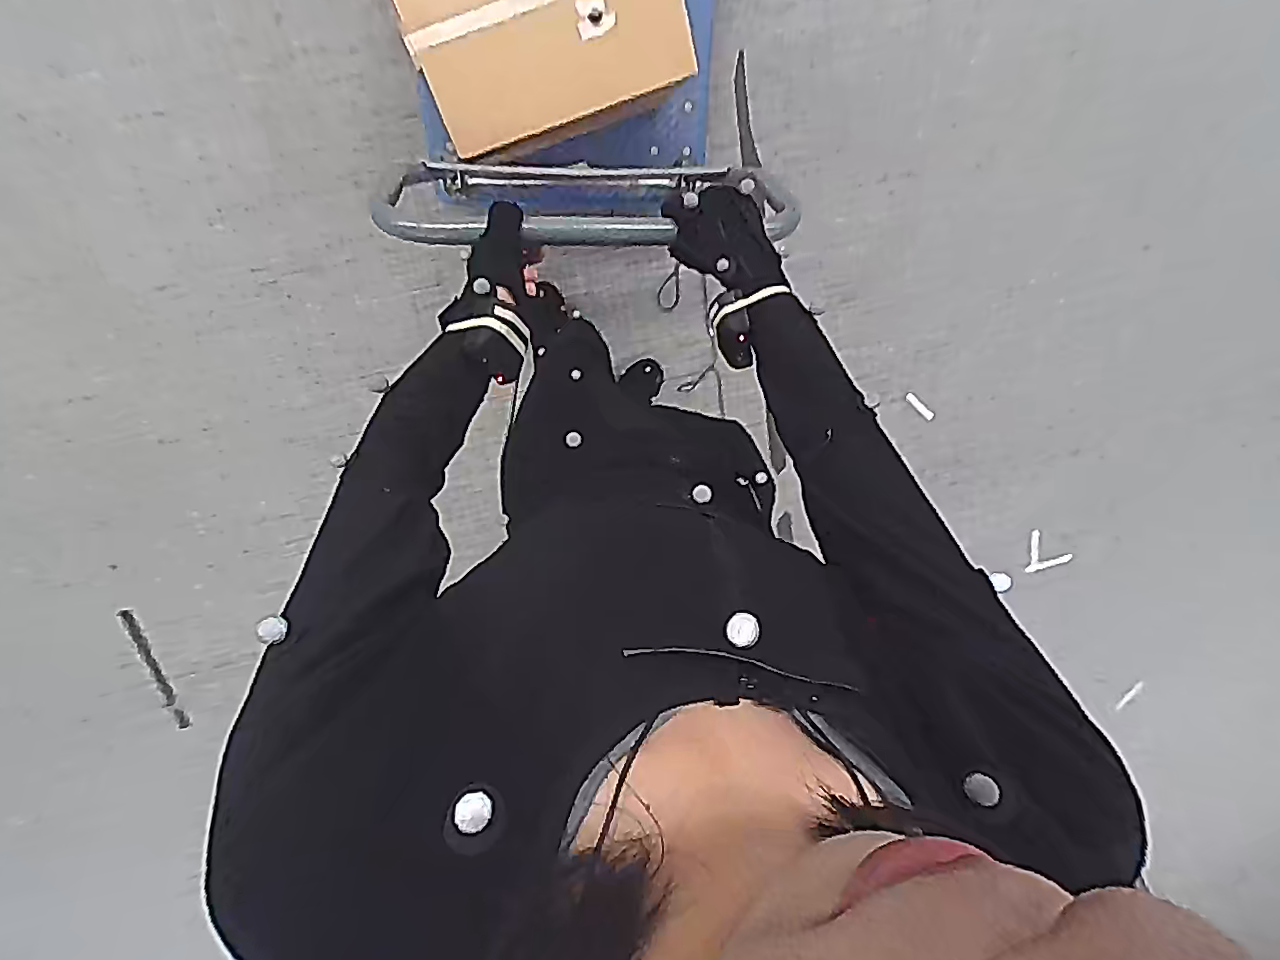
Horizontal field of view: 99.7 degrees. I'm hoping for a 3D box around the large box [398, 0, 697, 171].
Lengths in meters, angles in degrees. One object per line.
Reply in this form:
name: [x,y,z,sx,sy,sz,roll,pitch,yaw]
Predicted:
large box: [-0.165,-0.771,0.919,0.408,0.320,0.320,-20,119,1]
